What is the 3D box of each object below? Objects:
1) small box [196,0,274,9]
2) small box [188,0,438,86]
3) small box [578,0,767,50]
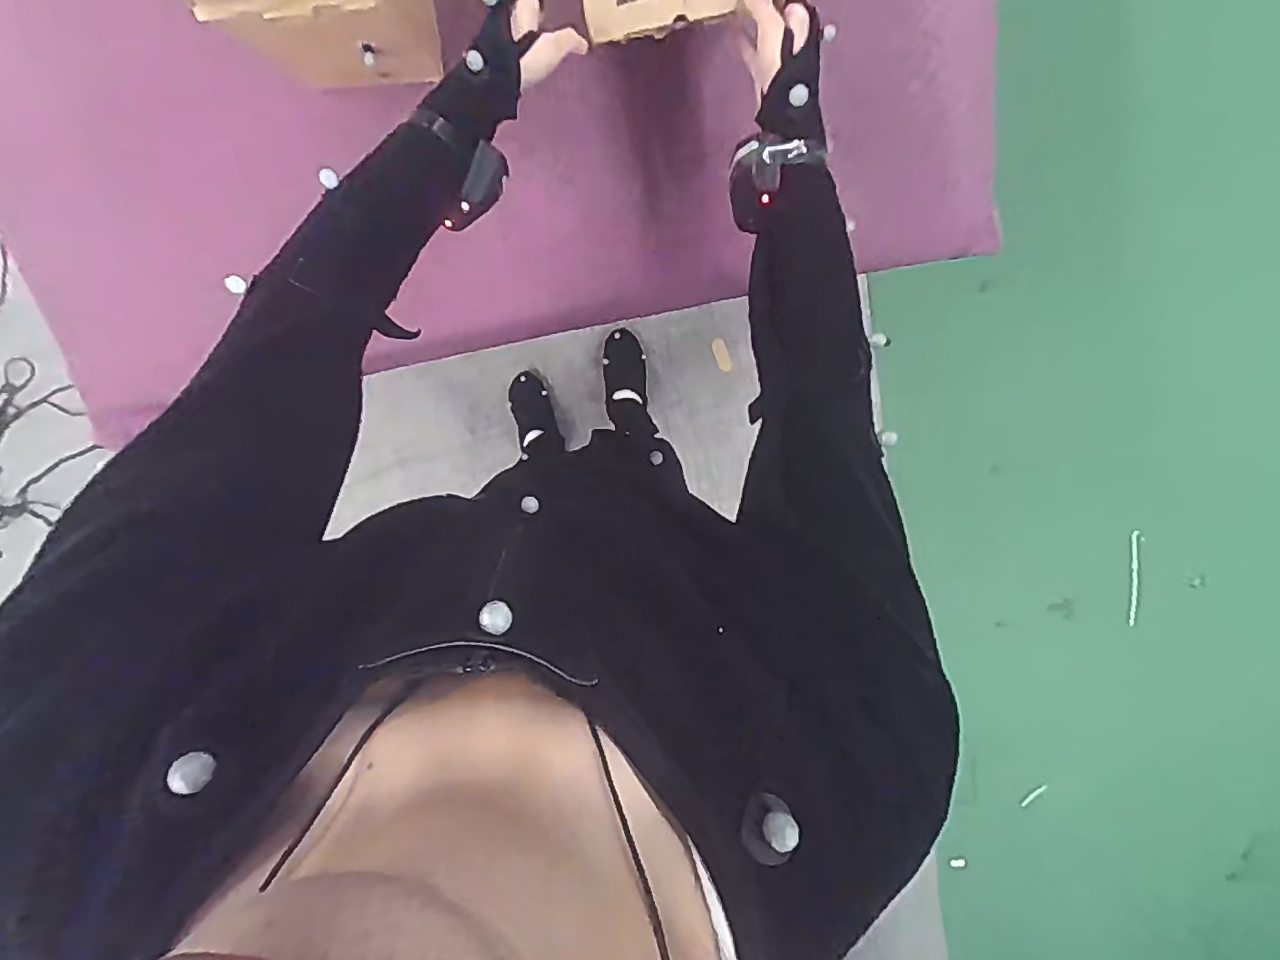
[{"bbox_3d":[-0.316,-0.472,0.364,0.168,0.176,0.179,-6,108,1],"label":"small box"},{"bbox_3d":[-0.312,-0.509,0.522,0.168,0.176,0.179,-3,107,1],"label":"small box"},{"bbox_3d":[0.019,-0.515,0.482,0.168,0.176,0.179,-7,133,3],"label":"small box"}]
